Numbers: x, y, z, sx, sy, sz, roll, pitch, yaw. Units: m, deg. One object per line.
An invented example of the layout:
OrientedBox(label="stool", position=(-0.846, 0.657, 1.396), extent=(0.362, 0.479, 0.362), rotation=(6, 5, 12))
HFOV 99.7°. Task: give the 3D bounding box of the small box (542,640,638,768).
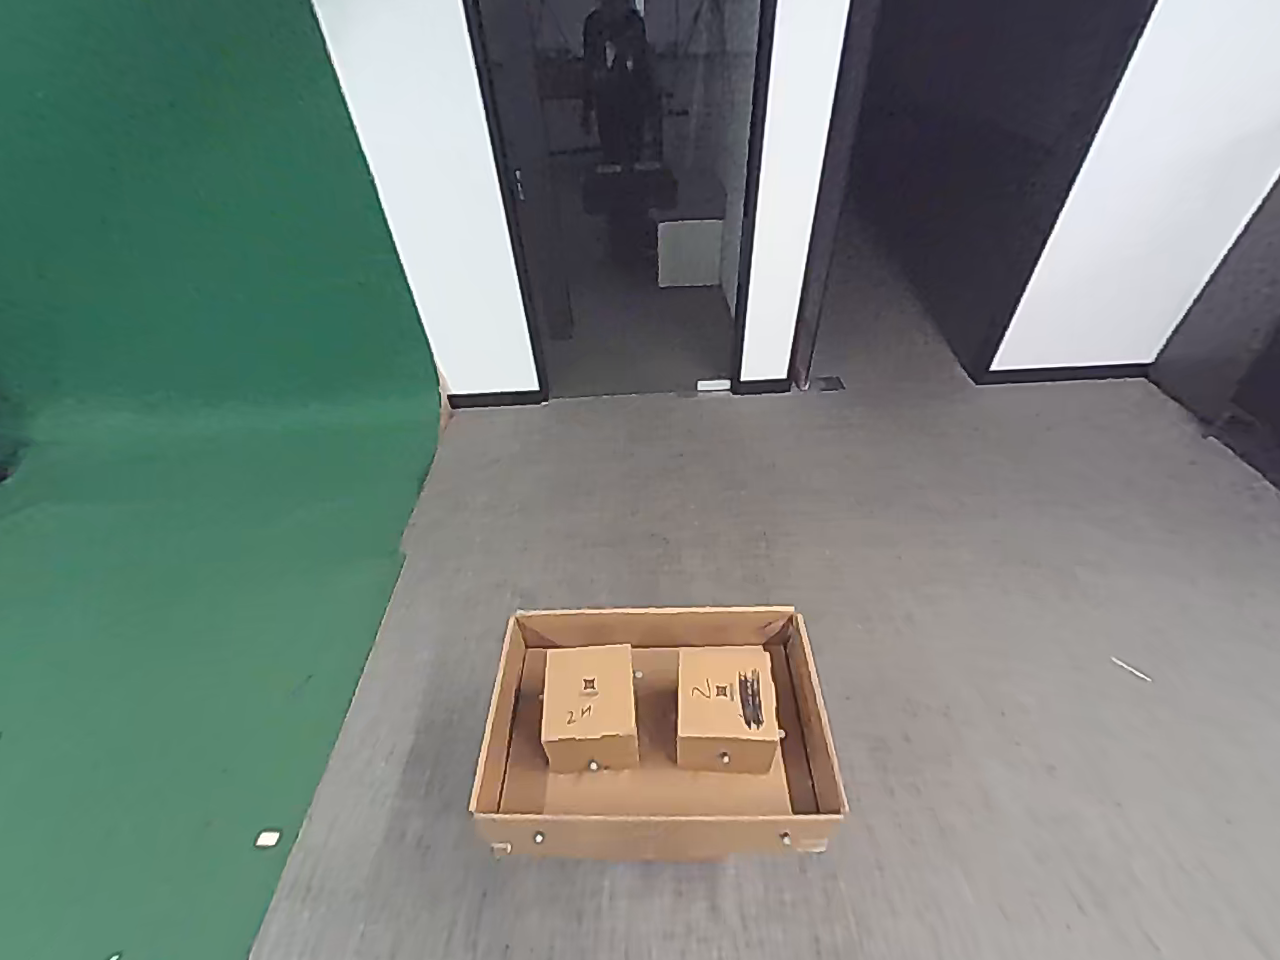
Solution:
OrientedBox(label="small box", position=(-0.091, 0.434, 1.047), extent=(0.168, 0.176, 0.179), rotation=(-3, 43, -1))
